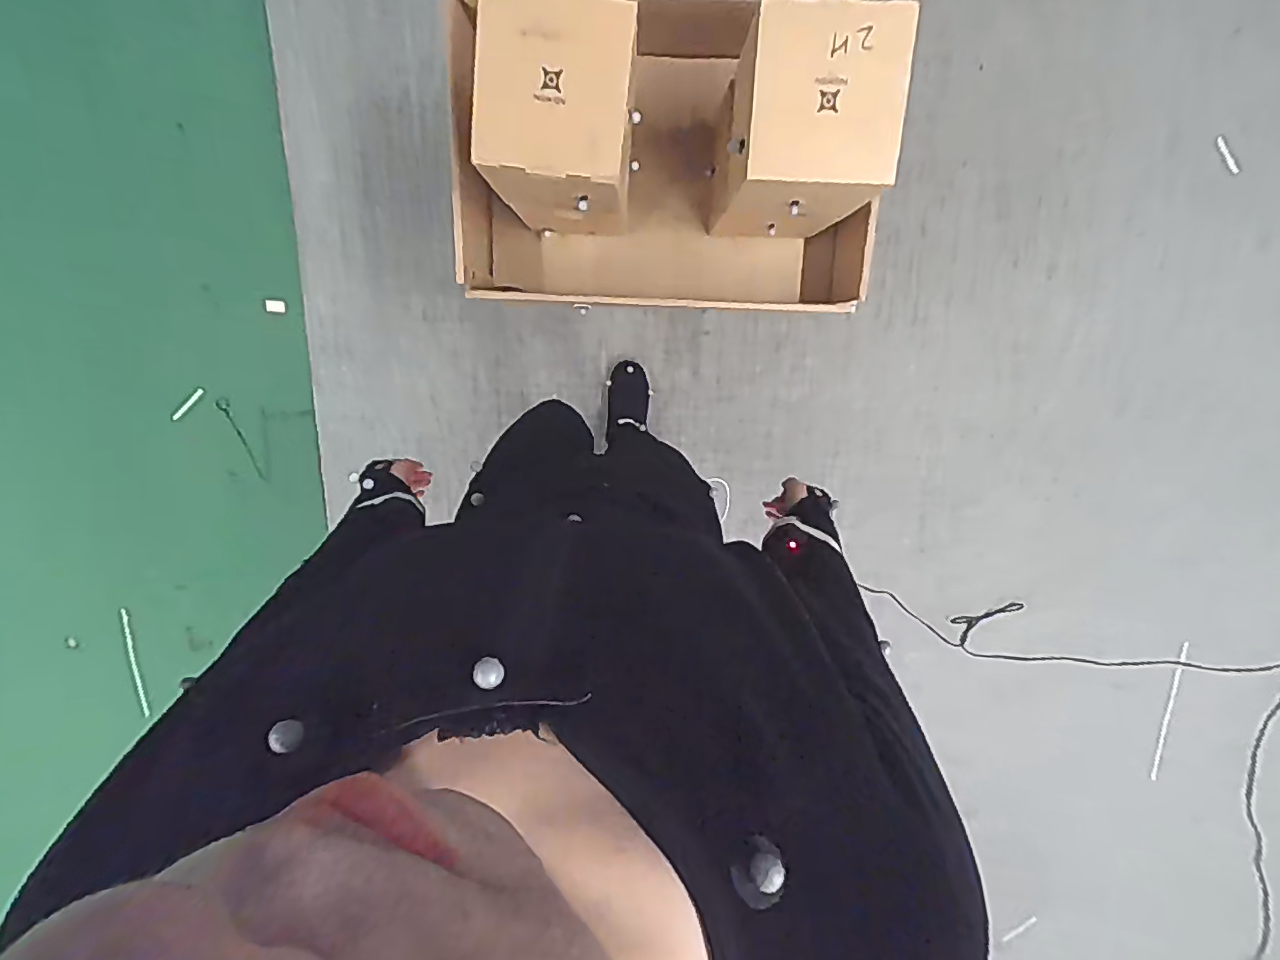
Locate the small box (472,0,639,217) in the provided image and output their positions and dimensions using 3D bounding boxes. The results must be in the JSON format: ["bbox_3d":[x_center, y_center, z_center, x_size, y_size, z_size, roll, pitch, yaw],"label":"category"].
[{"bbox_3d":[-0.093,-0.437,0.656,0.168,0.176,0.179,8,103,-2],"label":"small box"}]

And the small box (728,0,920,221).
[{"bbox_3d":[0.203,-0.424,0.653,0.168,0.176,0.179,3,104,0],"label":"small box"}]
